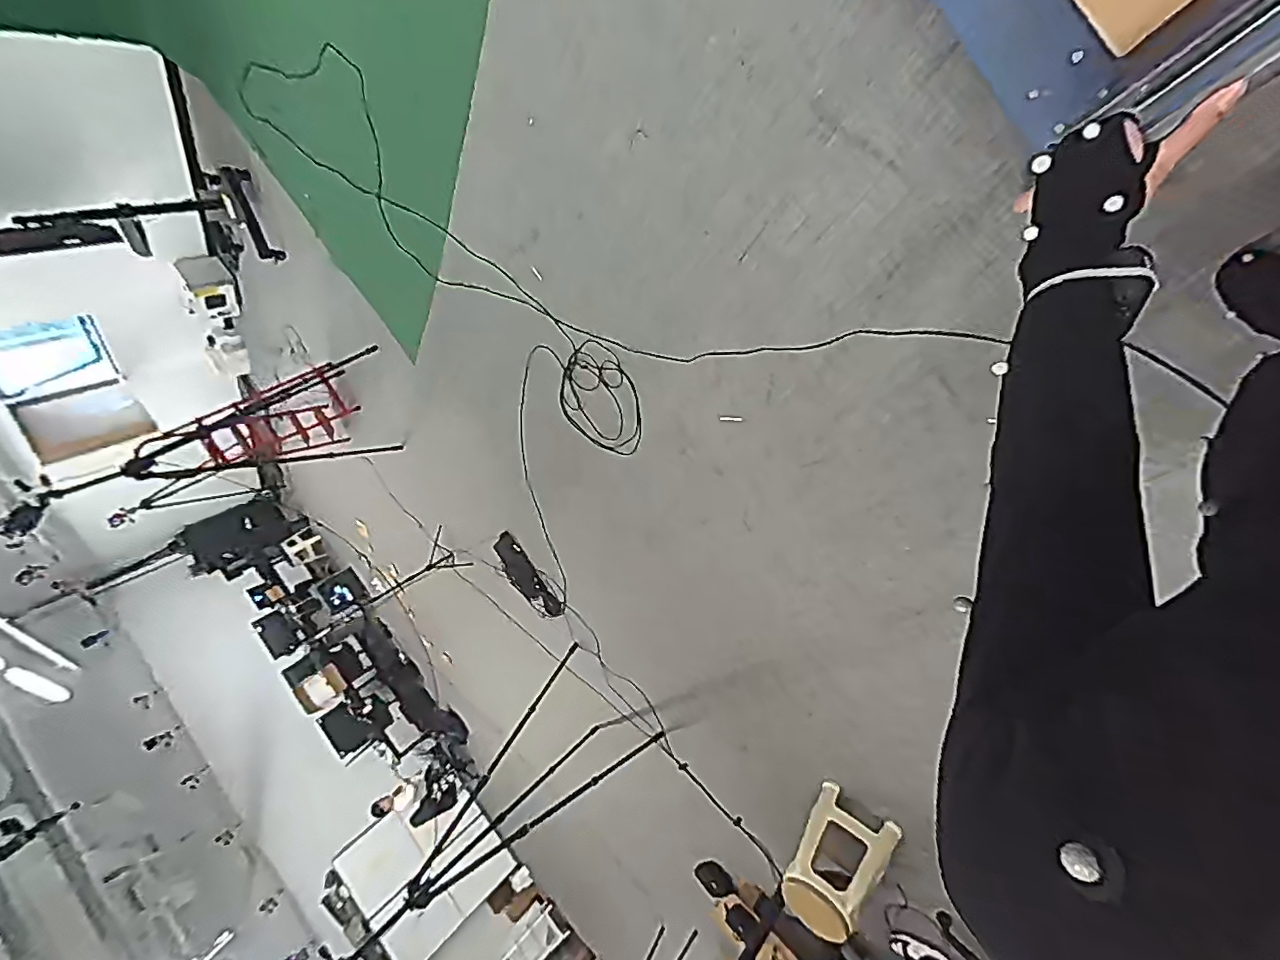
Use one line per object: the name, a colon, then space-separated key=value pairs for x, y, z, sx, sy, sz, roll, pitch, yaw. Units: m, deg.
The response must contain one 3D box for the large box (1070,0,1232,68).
large box: x=0.708 y=-0.844 z=0.705 sx=0.408 sy=0.320 sz=0.320 roll=57 pitch=140 yaw=2
